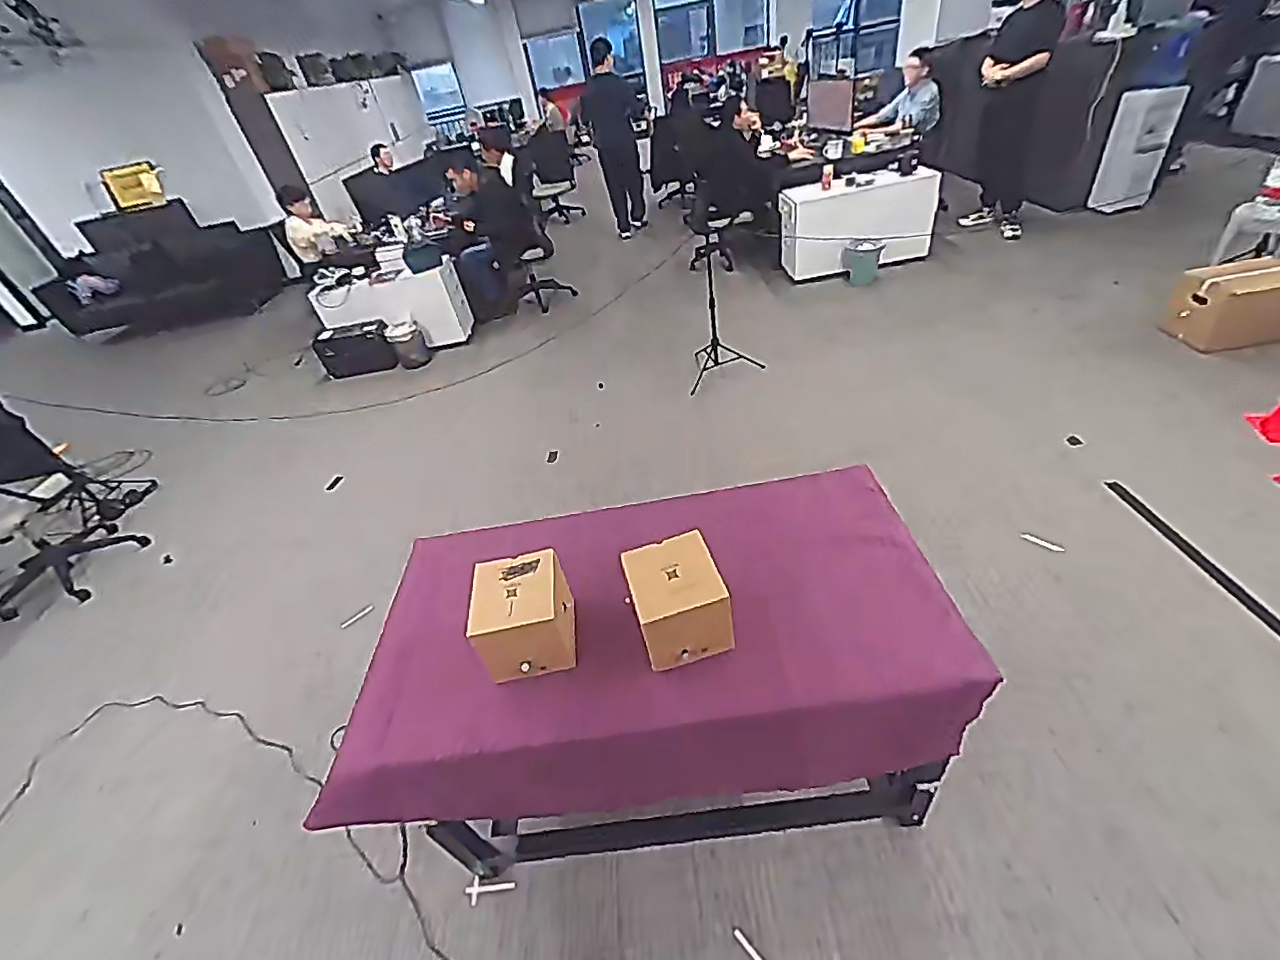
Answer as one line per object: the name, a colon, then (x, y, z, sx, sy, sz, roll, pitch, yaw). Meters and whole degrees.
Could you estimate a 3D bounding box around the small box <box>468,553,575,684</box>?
small box: (-0.230, 0.279, 1.093, 0.168, 0.176, 0.179, -12, 39, 0)

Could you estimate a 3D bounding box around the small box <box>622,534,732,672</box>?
small box: (0.072, 0.240, 1.060, 0.168, 0.176, 0.179, -17, 39, -4)
